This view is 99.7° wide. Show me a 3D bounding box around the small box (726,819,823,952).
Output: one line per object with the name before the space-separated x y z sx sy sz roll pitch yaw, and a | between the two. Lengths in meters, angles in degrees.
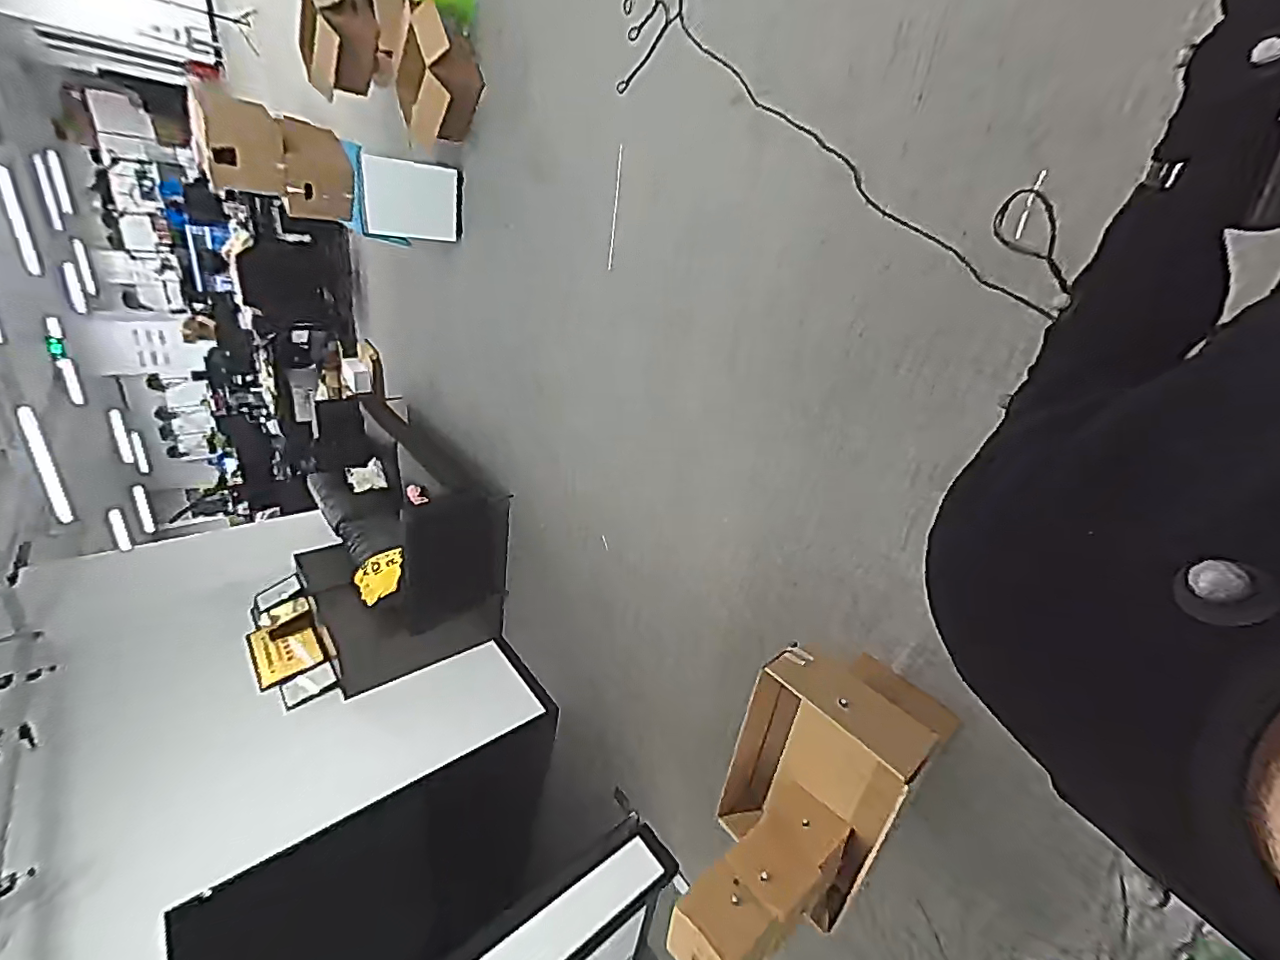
small box | 0.321 0.988 1.341 0.179 0.176 0.168 26 120 42

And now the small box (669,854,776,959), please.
small box | 0.191 1.026 1.246 0.168 0.176 0.179 28 121 41
